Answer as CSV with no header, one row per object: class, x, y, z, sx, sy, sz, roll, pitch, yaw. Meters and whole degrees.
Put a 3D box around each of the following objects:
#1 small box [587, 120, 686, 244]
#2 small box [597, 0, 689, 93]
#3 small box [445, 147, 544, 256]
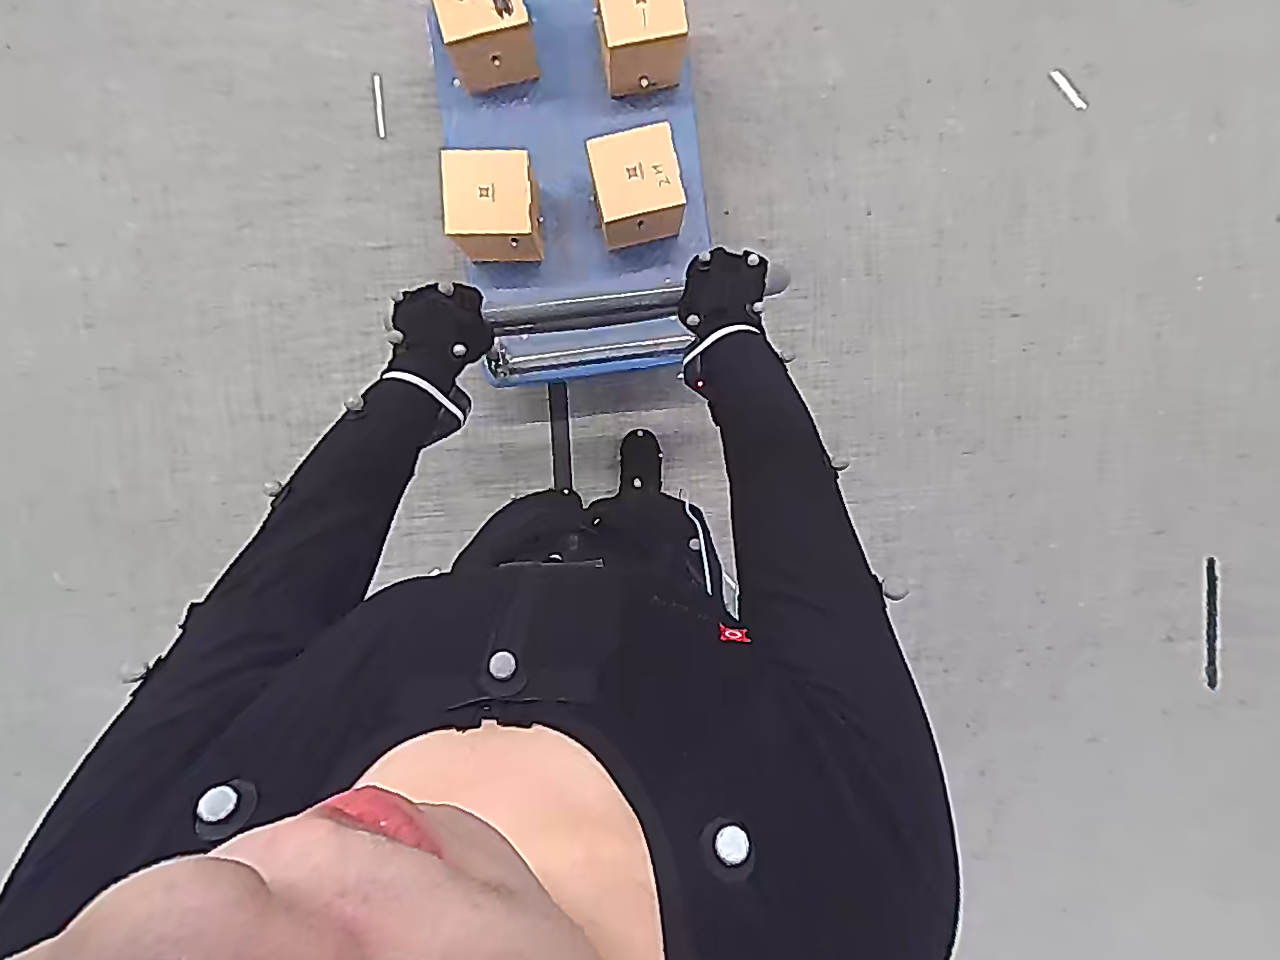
small box,-0.006,-0.637,1.178,0.179,0.176,0.168,-13,95,0
small box,0.002,-0.974,1.149,0.168,0.176,0.179,-11,96,0
small box,-0.309,-0.595,1.175,0.179,0.176,0.168,-2,95,-3
